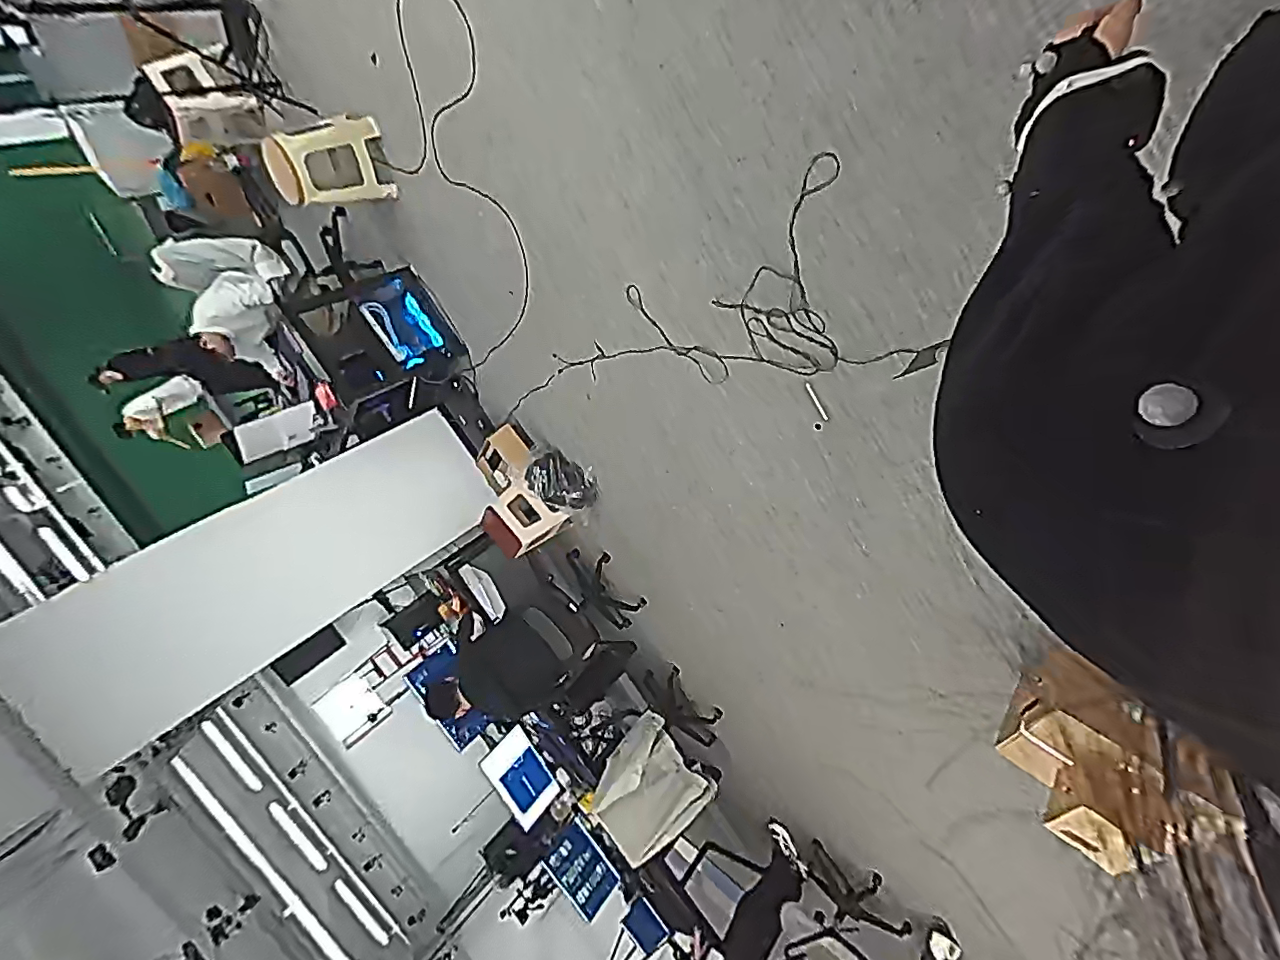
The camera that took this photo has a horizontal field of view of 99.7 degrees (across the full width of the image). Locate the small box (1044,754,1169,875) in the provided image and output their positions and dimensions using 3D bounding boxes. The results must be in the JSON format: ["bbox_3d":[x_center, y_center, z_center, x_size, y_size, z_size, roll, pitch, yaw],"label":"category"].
[{"bbox_3d":[1.160,0.826,1.342,0.168,0.176,0.179,33,141,27],"label":"small box"}]
